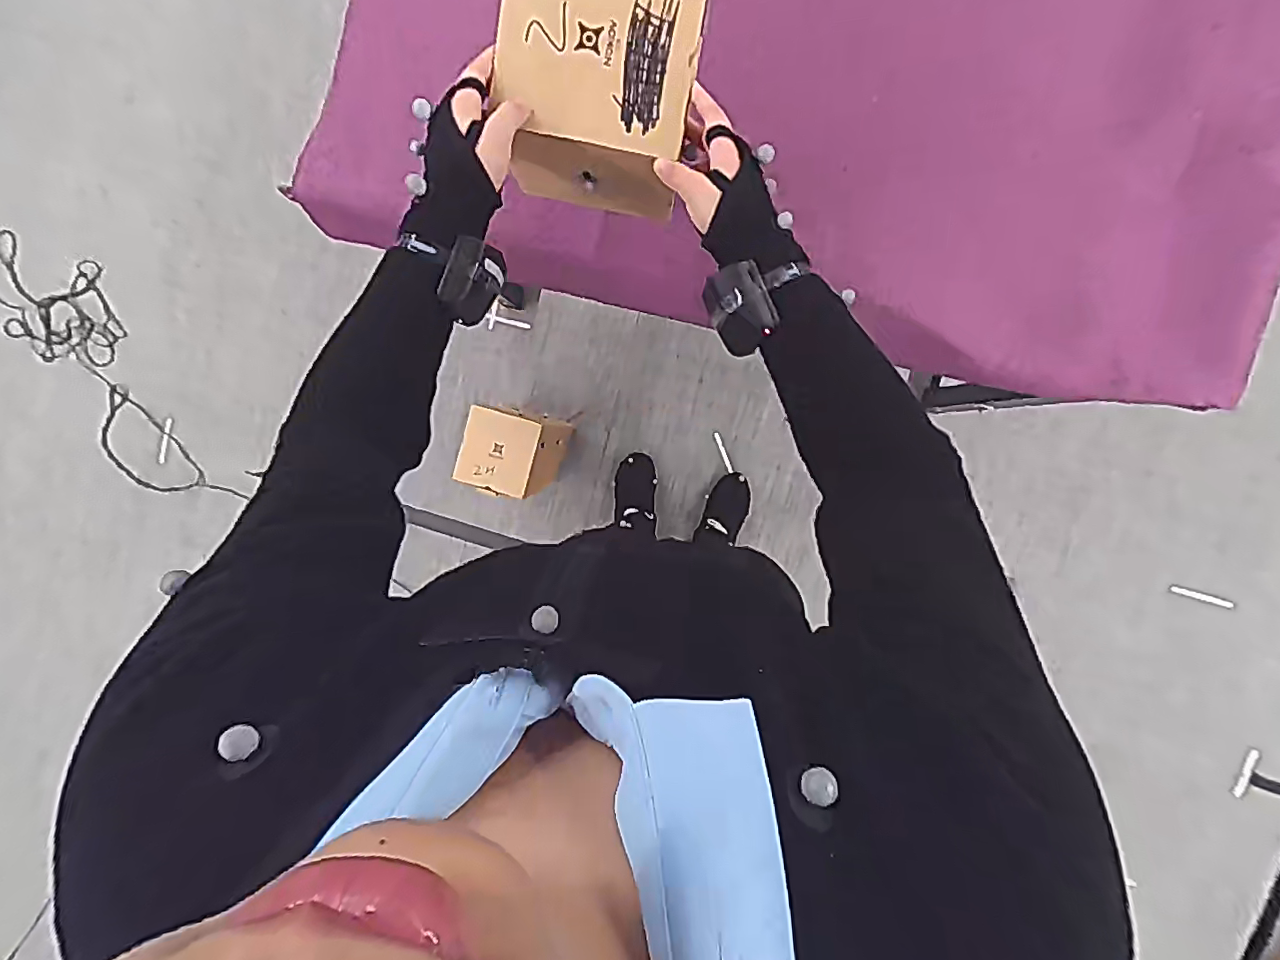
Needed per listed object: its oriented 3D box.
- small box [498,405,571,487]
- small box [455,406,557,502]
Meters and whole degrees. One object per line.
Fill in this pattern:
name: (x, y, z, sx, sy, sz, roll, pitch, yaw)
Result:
small box: (-0.295, -0.083, 1.421, 0.168, 0.176, 0.179, 22, 96, 2)
small box: (-0.302, -0.063, 1.257, 0.168, 0.176, 0.179, 16, 96, 3)
